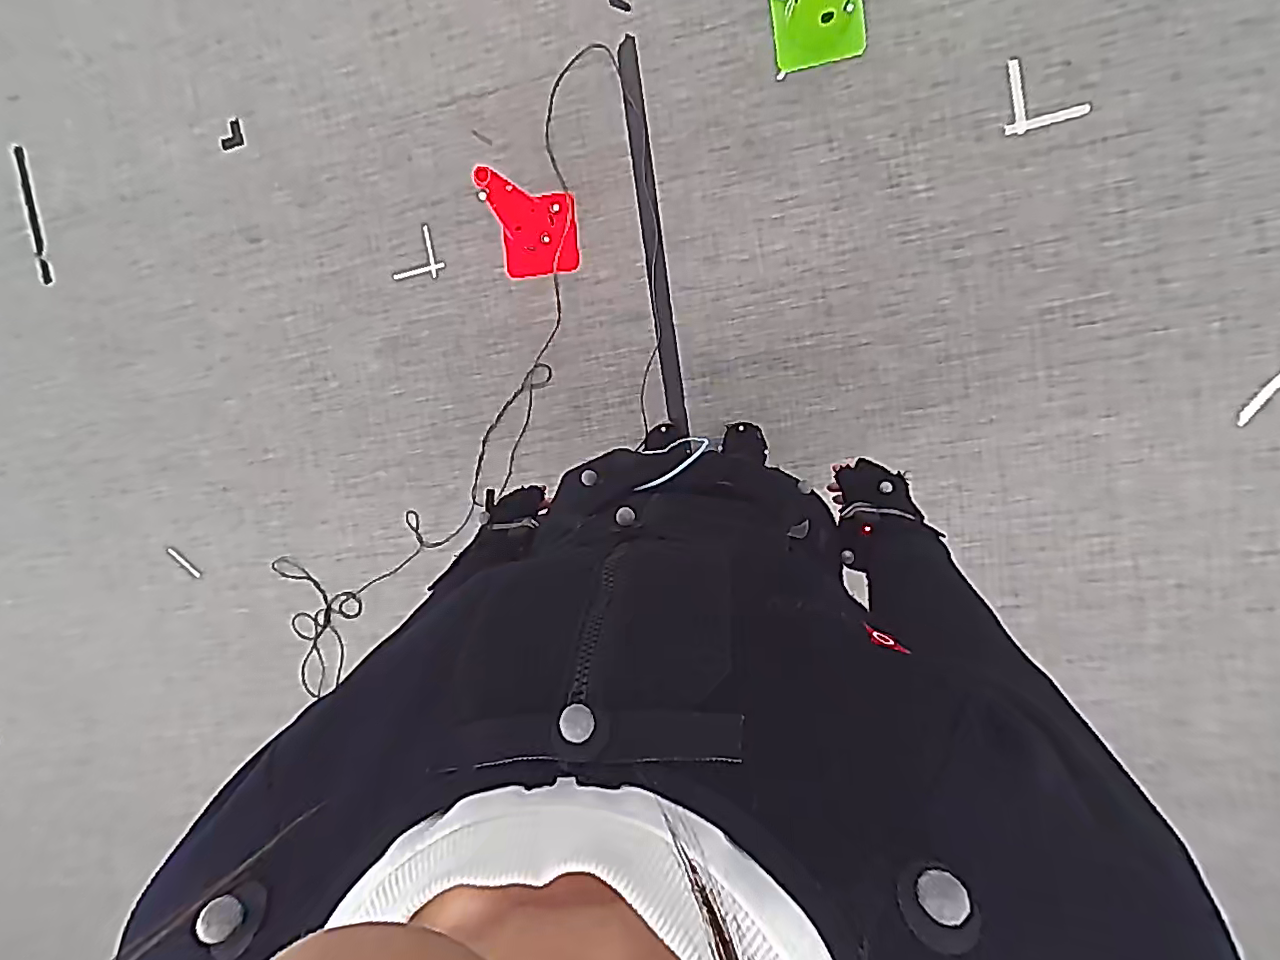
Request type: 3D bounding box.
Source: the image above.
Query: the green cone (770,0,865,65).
[{"bbox_3d":[0.384,-1.055,1.075,0.202,0.368,0.200,-8,95,8],"label":"green cone"}]

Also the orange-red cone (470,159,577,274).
[{"bbox_3d":[-0.290,-0.625,1.231,0.199,0.360,0.198,-3,95,10],"label":"orange-red cone"}]
